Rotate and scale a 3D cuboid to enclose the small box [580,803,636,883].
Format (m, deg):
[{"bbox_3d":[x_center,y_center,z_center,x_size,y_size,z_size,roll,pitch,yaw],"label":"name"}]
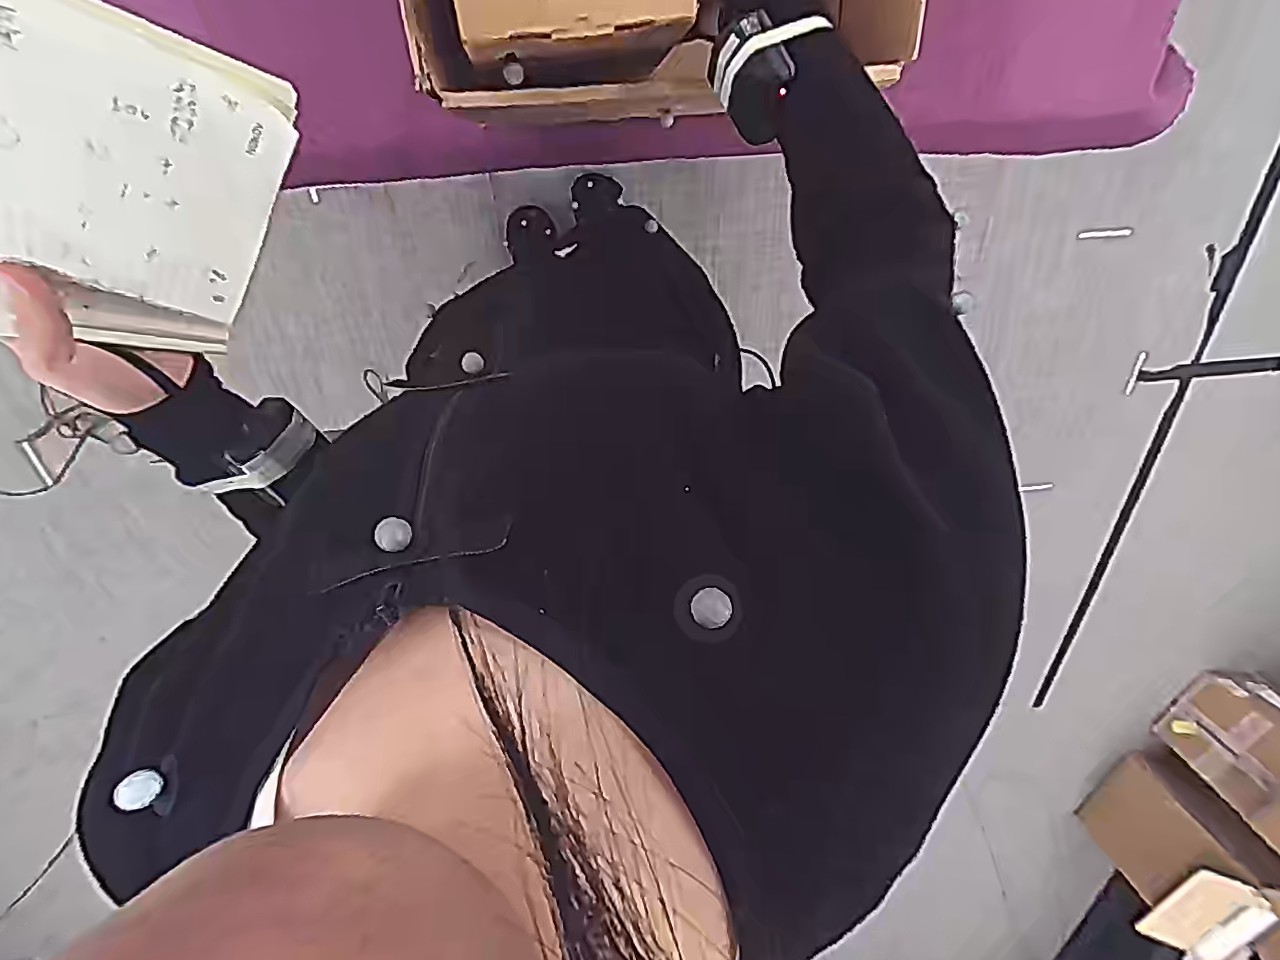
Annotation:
[{"bbox_3d":[-0.112,1.241,1.863,0.168,0.176,0.179,-8,120,-3],"label":"small box"}]
